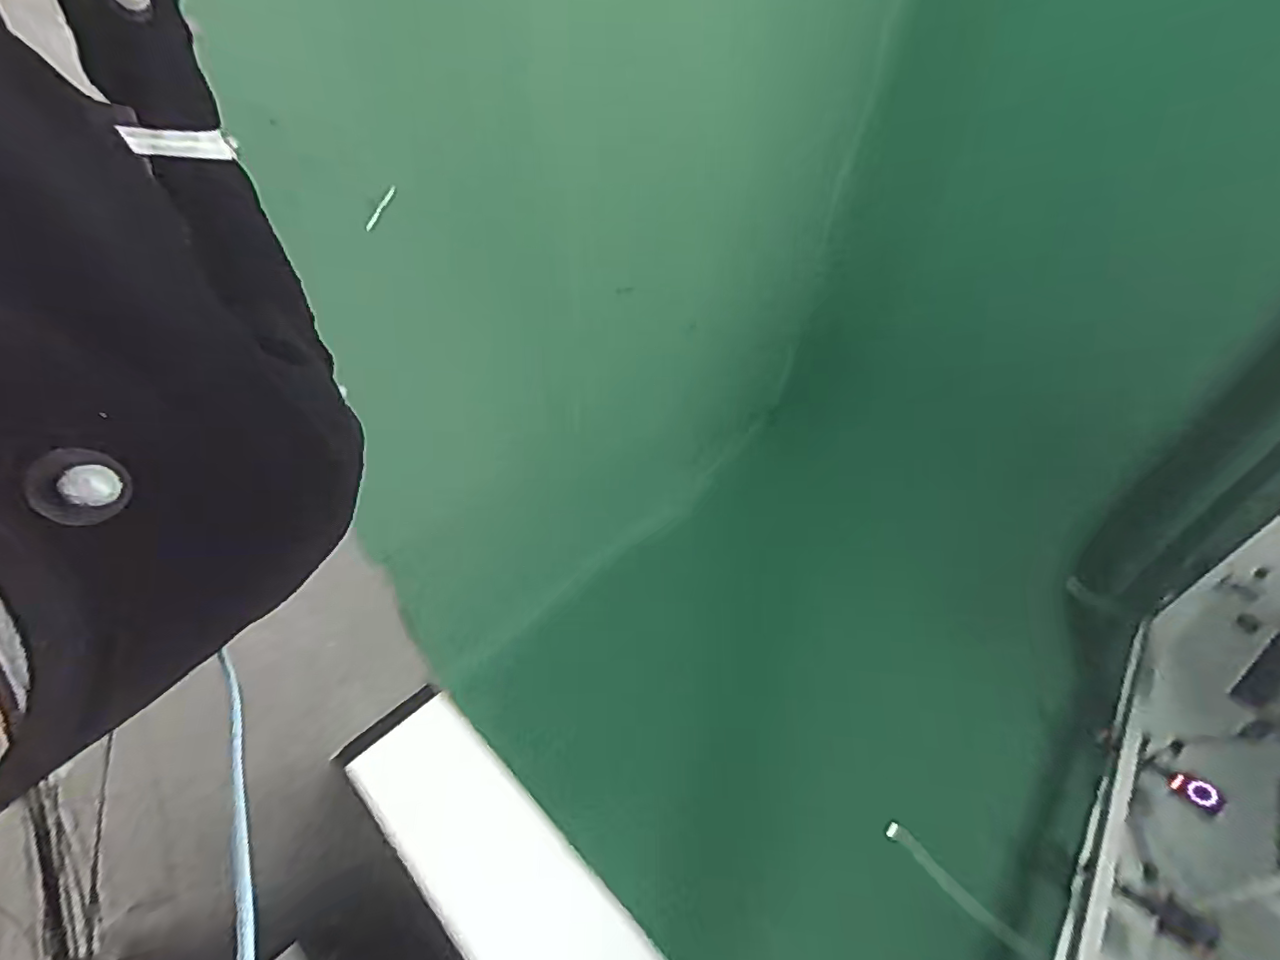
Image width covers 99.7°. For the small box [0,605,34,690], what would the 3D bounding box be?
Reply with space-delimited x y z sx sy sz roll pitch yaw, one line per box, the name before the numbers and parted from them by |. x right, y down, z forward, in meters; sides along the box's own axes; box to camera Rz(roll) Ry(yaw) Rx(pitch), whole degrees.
small box | -1.229 0.293 0.935 0.179 0.176 0.168 -32 142 -34
